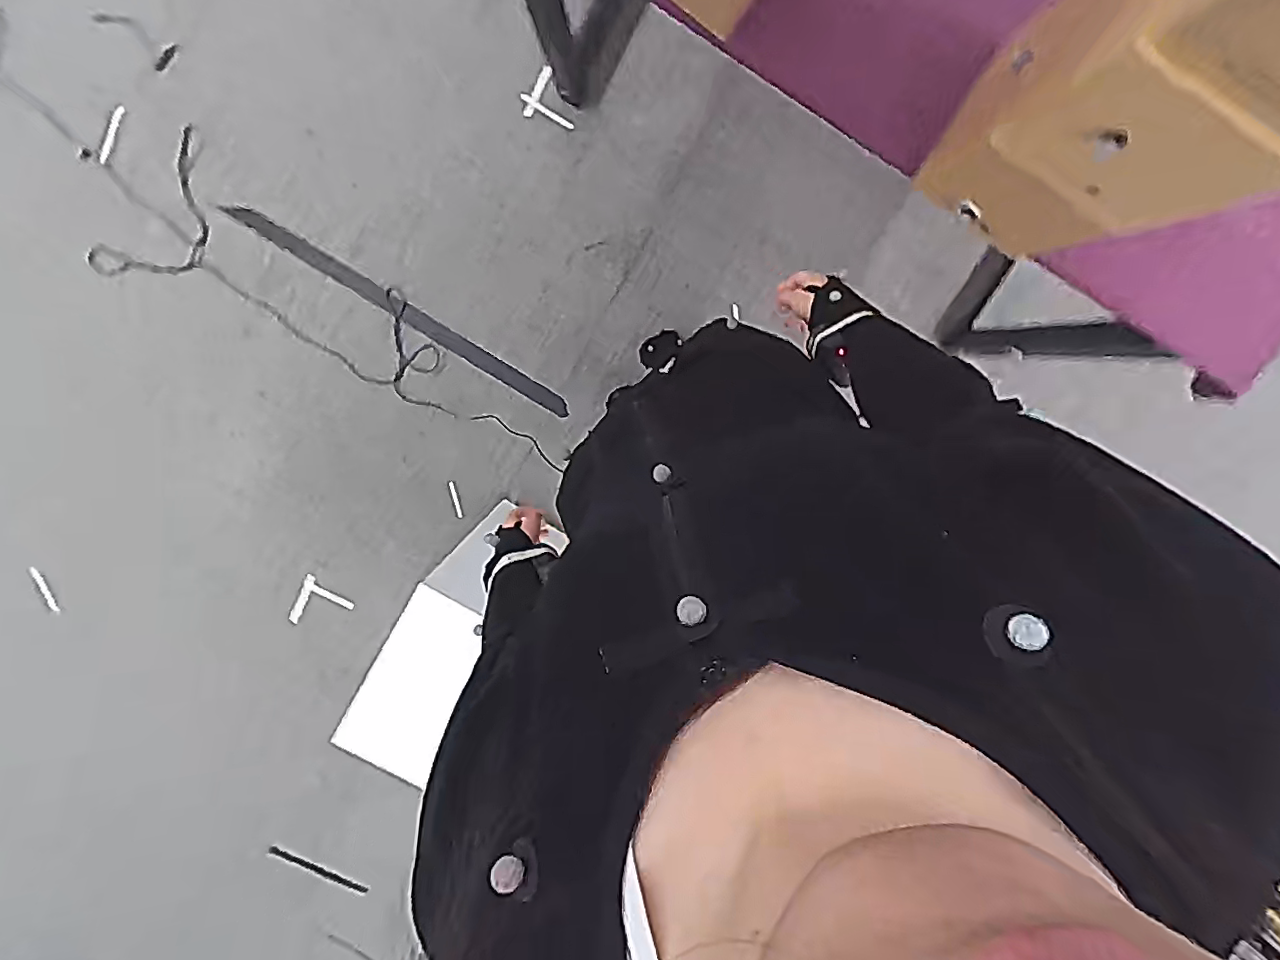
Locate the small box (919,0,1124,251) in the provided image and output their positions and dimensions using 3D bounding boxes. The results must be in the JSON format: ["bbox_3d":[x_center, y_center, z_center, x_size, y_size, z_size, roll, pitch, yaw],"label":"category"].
[{"bbox_3d":[0.439,-0.373,0.572,0.168,0.176,0.179,31,104,-5],"label":"small box"}]

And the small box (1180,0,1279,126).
[{"bbox_3d":[0.439,-0.297,0.255,0.168,0.176,0.179,30,101,-4],"label":"small box"}]

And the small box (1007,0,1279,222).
[{"bbox_3d":[0.432,-0.332,0.415,0.168,0.176,0.179,30,102,-4],"label":"small box"}]

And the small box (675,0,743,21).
[{"bbox_3d":[0.071,-0.604,0.522,0.179,0.176,0.168,34,102,-7],"label":"small box"}]
